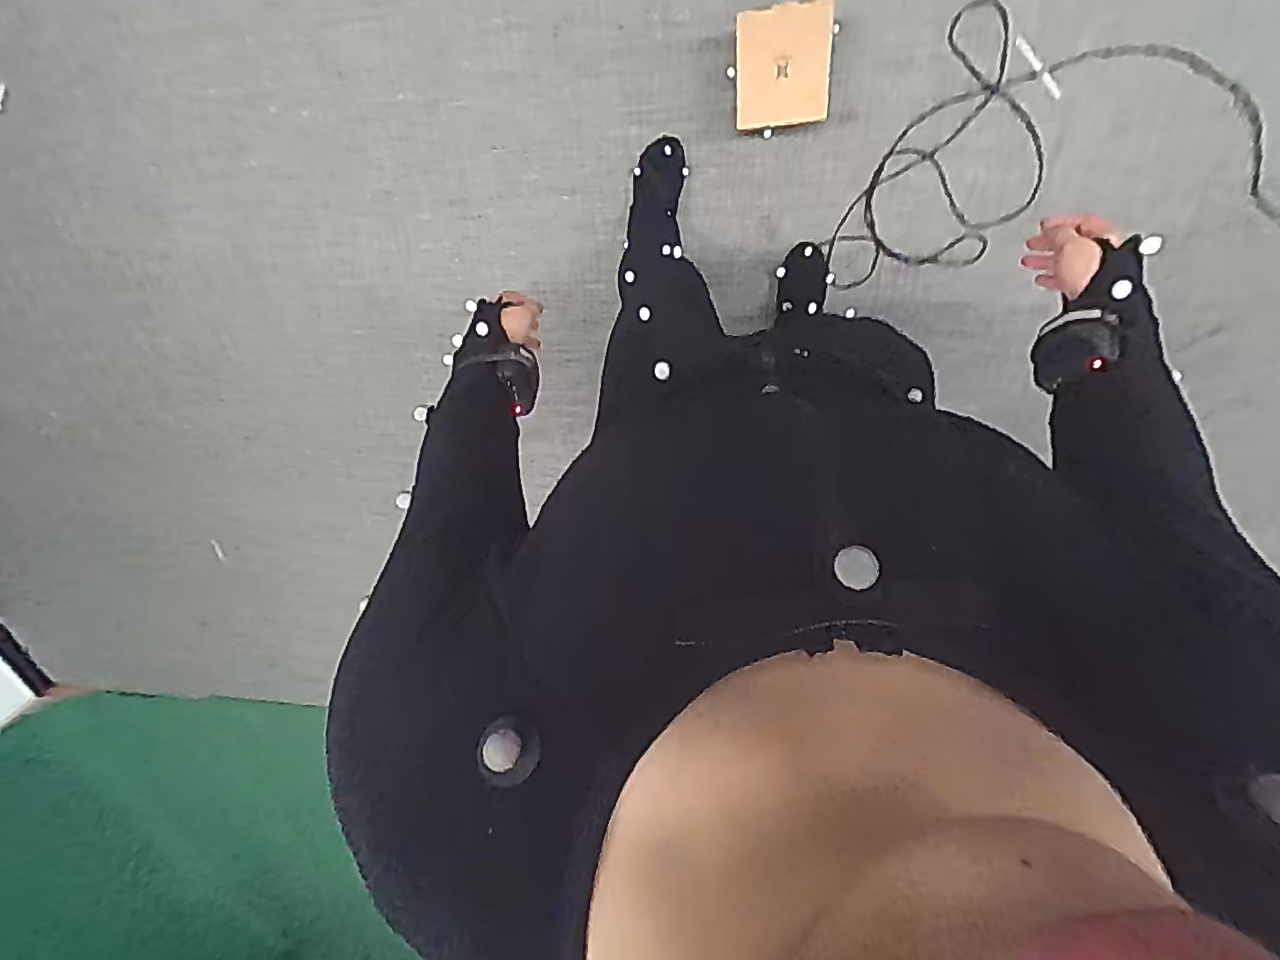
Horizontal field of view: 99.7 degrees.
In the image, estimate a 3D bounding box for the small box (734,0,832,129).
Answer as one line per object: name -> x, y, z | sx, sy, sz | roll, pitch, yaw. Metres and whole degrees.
small box -> 0.268, -0.787, 1.040 | 0.168, 0.176, 0.179 | -1, 119, 11
